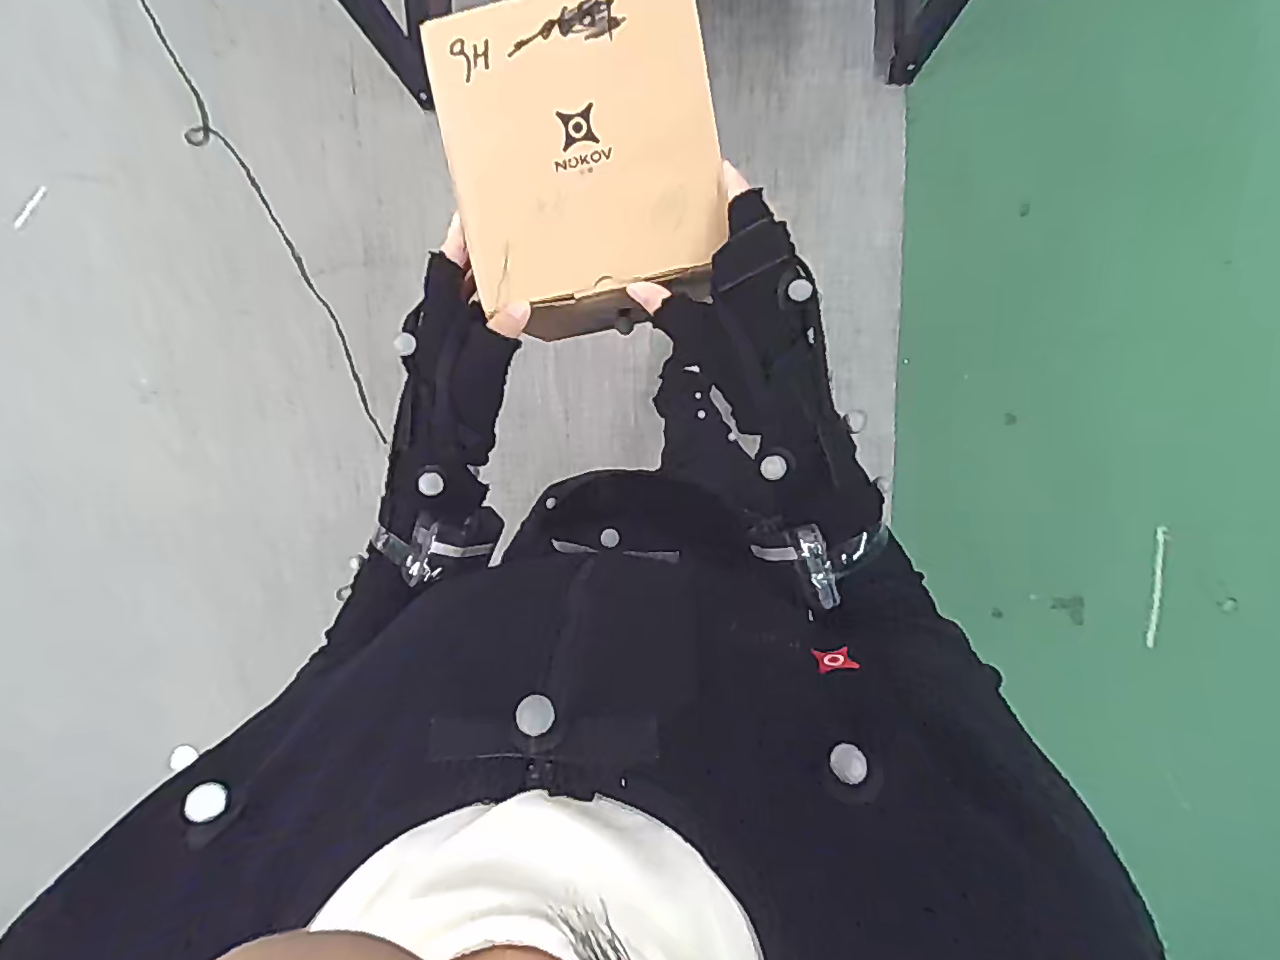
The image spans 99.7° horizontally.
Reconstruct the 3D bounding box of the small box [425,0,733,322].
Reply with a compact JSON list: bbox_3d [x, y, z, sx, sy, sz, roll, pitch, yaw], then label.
[{"bbox_3d":[-0.027,-0.223,0.406,0.168,0.176,0.179,-10,99,7],"label":"small box"}]
